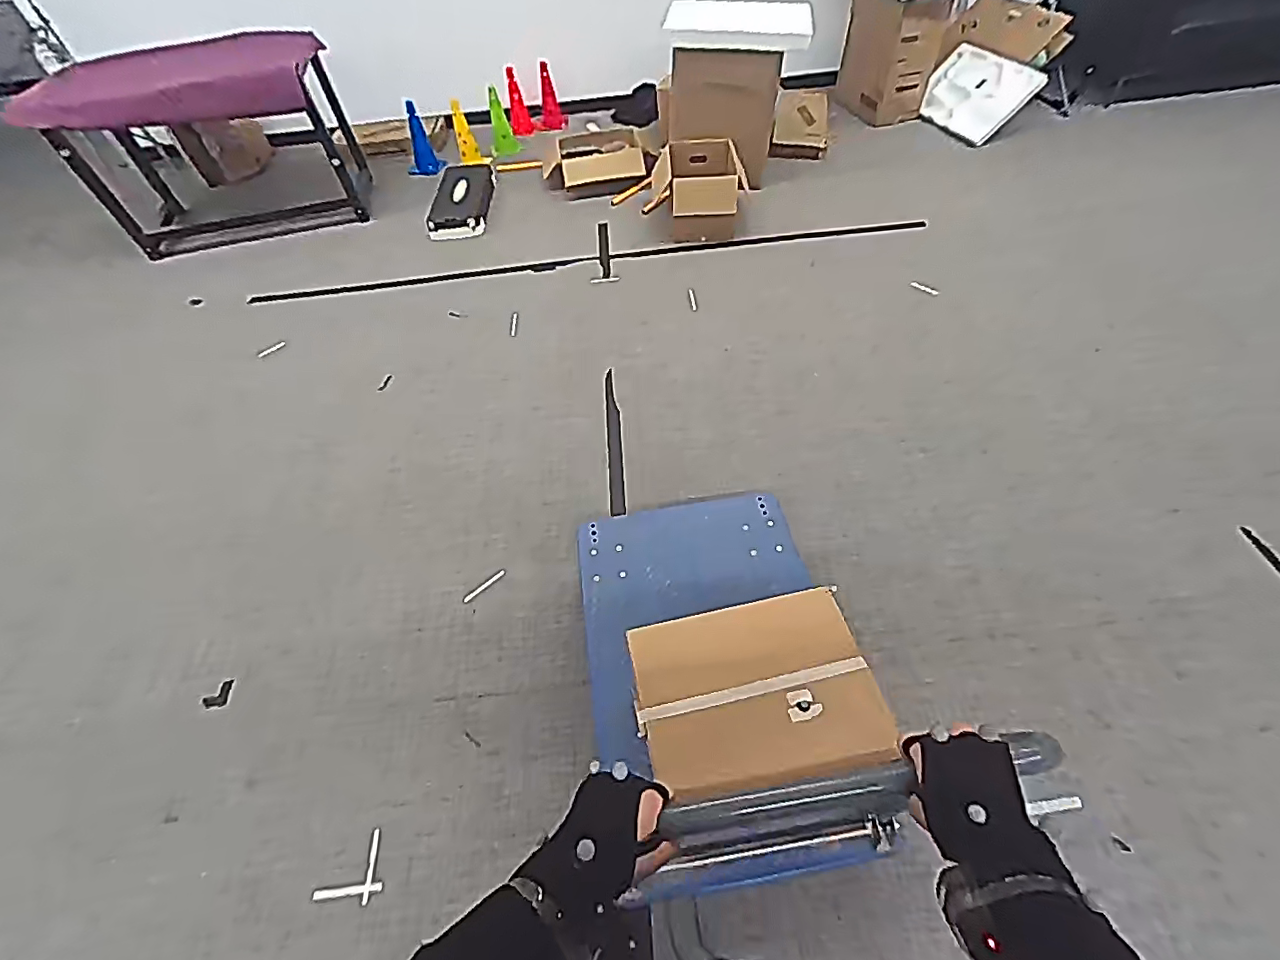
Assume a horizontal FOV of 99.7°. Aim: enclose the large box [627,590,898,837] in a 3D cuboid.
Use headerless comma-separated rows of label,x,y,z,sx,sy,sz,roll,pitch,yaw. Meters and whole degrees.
large box,0.206,0.464,1.069,0.408,0.320,0.320,-11,52,-6
